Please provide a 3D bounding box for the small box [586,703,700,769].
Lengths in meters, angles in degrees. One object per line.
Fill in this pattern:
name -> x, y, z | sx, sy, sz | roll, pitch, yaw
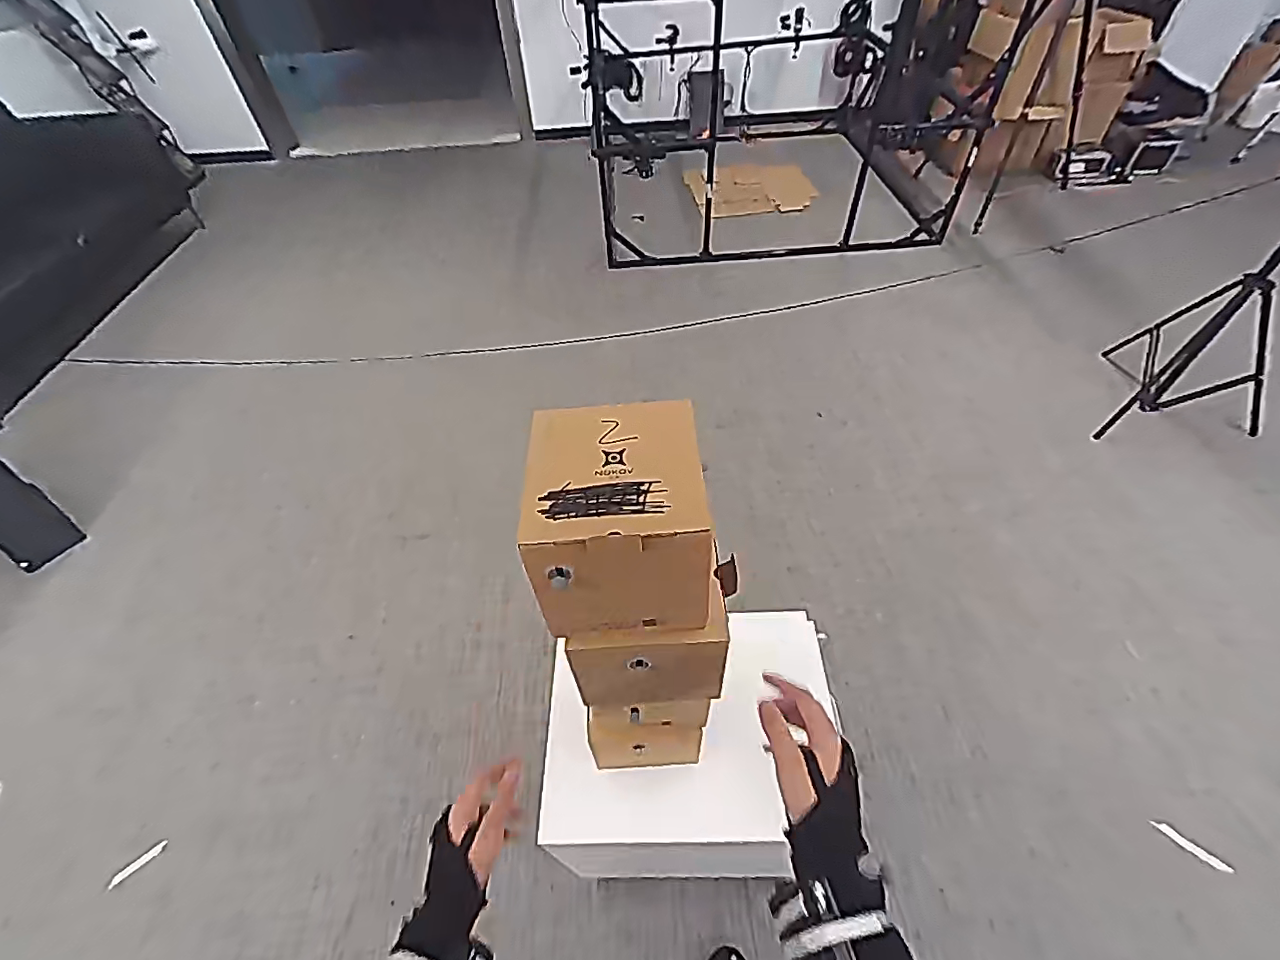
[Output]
small box -> 0.006, 0.383, 0.924 | 0.179, 0.176, 0.168 | -3, 49, -1

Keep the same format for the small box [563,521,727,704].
small box -> 0.008, 0.169, 0.676 | 0.179, 0.176, 0.168 | -3, 48, 0

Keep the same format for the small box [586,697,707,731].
small box -> 0.012, 0.265, 0.811 | 0.168, 0.176, 0.179 | -2, 48, 0
